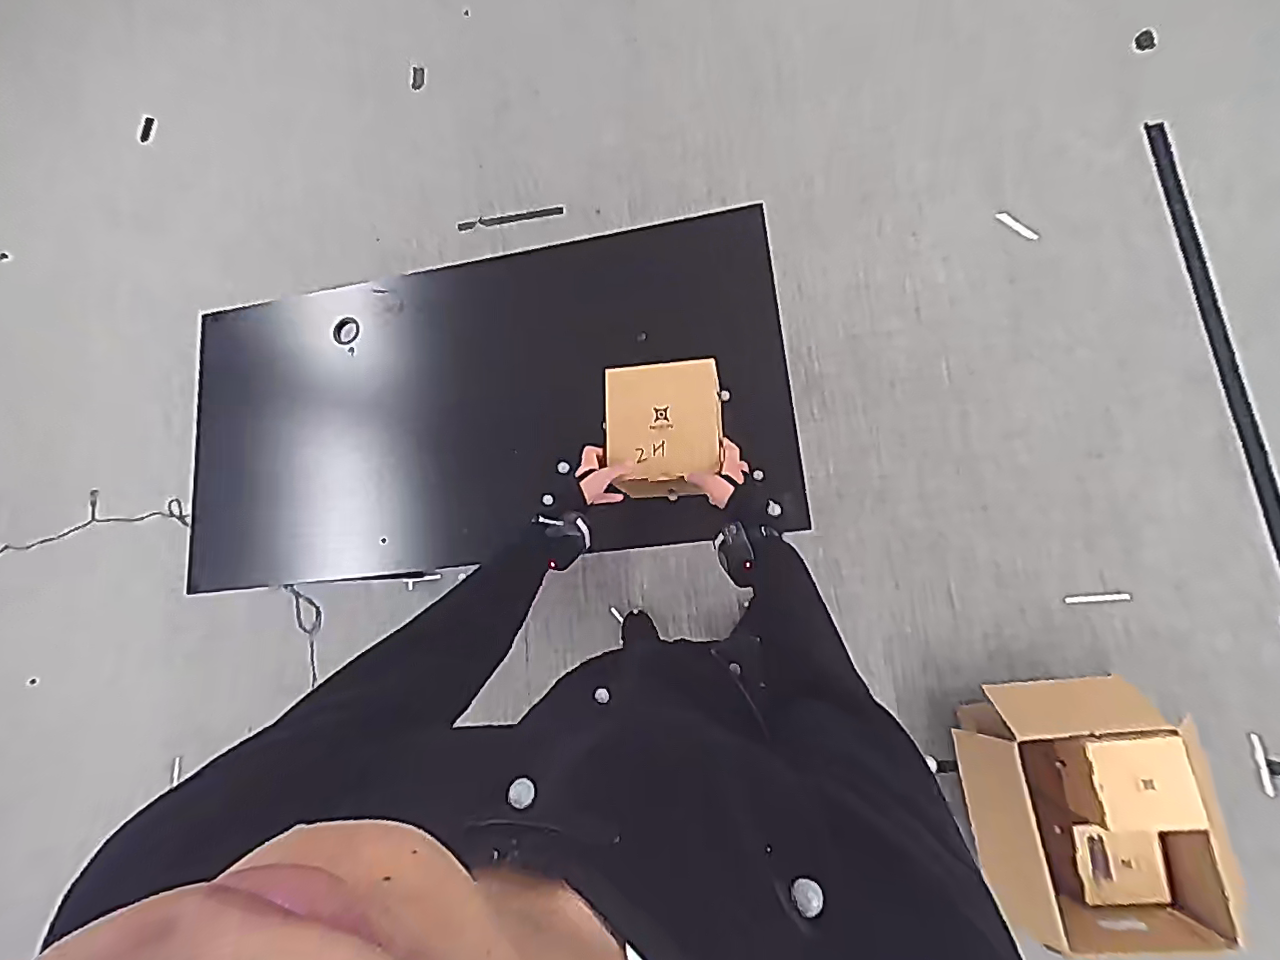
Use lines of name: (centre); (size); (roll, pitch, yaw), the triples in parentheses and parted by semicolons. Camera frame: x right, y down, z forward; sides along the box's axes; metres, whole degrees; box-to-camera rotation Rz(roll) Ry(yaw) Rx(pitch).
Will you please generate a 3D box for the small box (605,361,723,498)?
small box: (0.044, -0.071, 0.856); (0.168, 0.176, 0.179); (-3, 80, 11)
